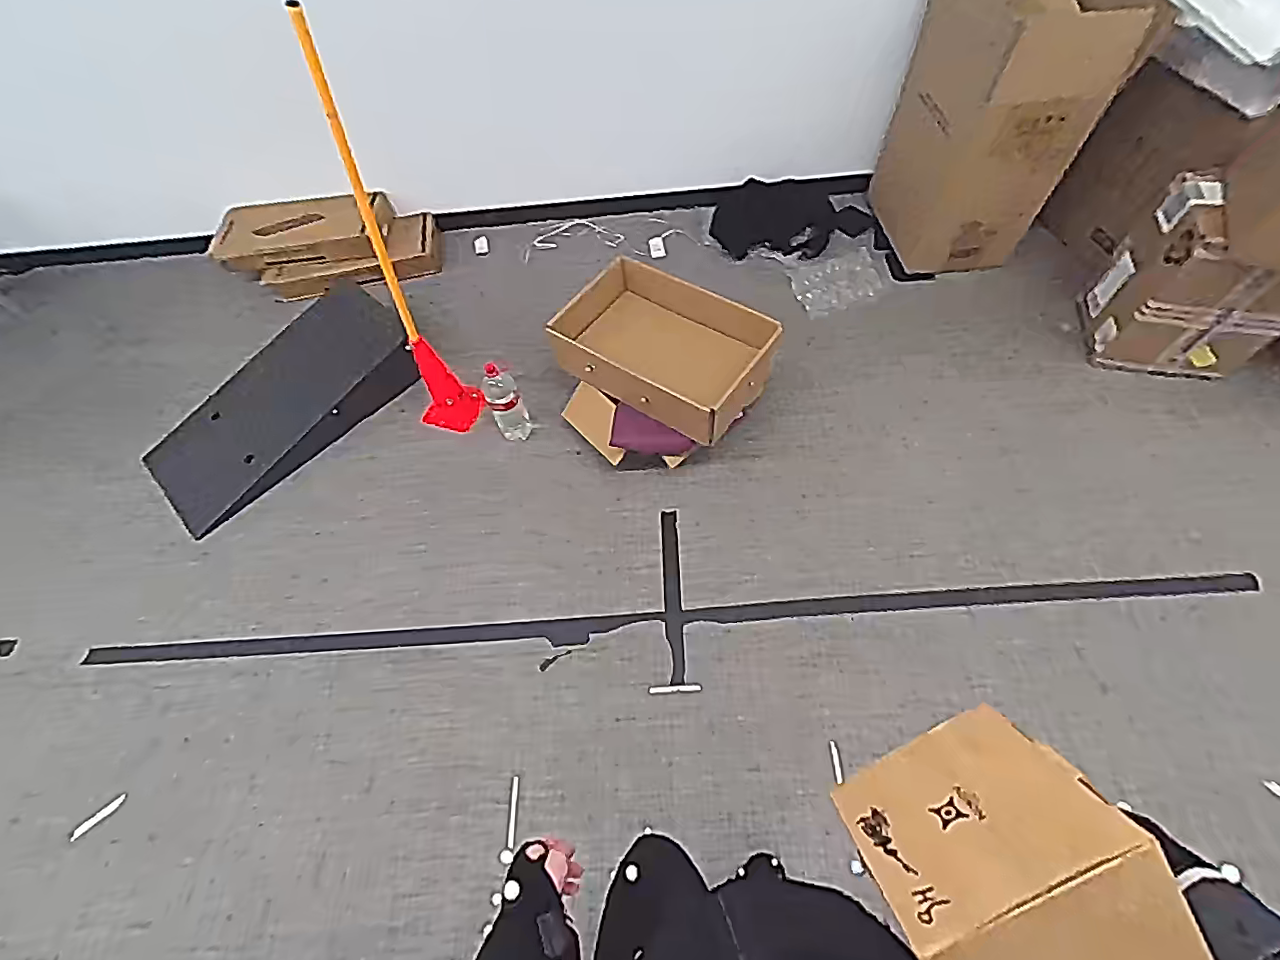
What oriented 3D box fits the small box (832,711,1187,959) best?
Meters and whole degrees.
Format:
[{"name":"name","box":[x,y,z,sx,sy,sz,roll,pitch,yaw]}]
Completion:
[{"name":"small box","box":[0.303,0.346,0.460,0.179,0.168,0.176,-29,96,2]}]
